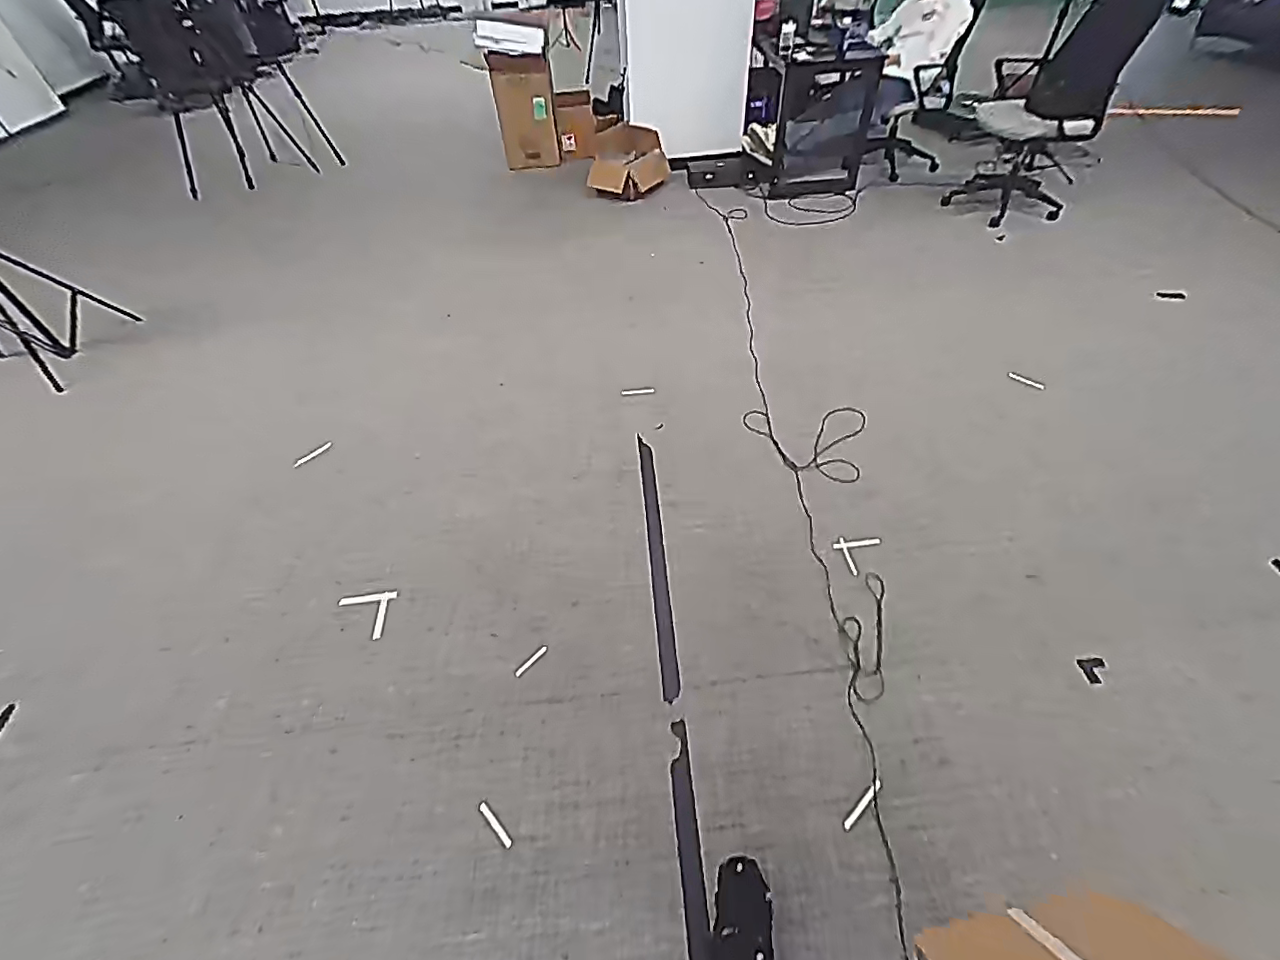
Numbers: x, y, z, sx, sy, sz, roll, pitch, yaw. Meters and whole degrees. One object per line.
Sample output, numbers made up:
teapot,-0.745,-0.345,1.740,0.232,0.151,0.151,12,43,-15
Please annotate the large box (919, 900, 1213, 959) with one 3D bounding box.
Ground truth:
large box,0.581,0.746,0.574,0.320,0.408,0.320,-12,75,-1
